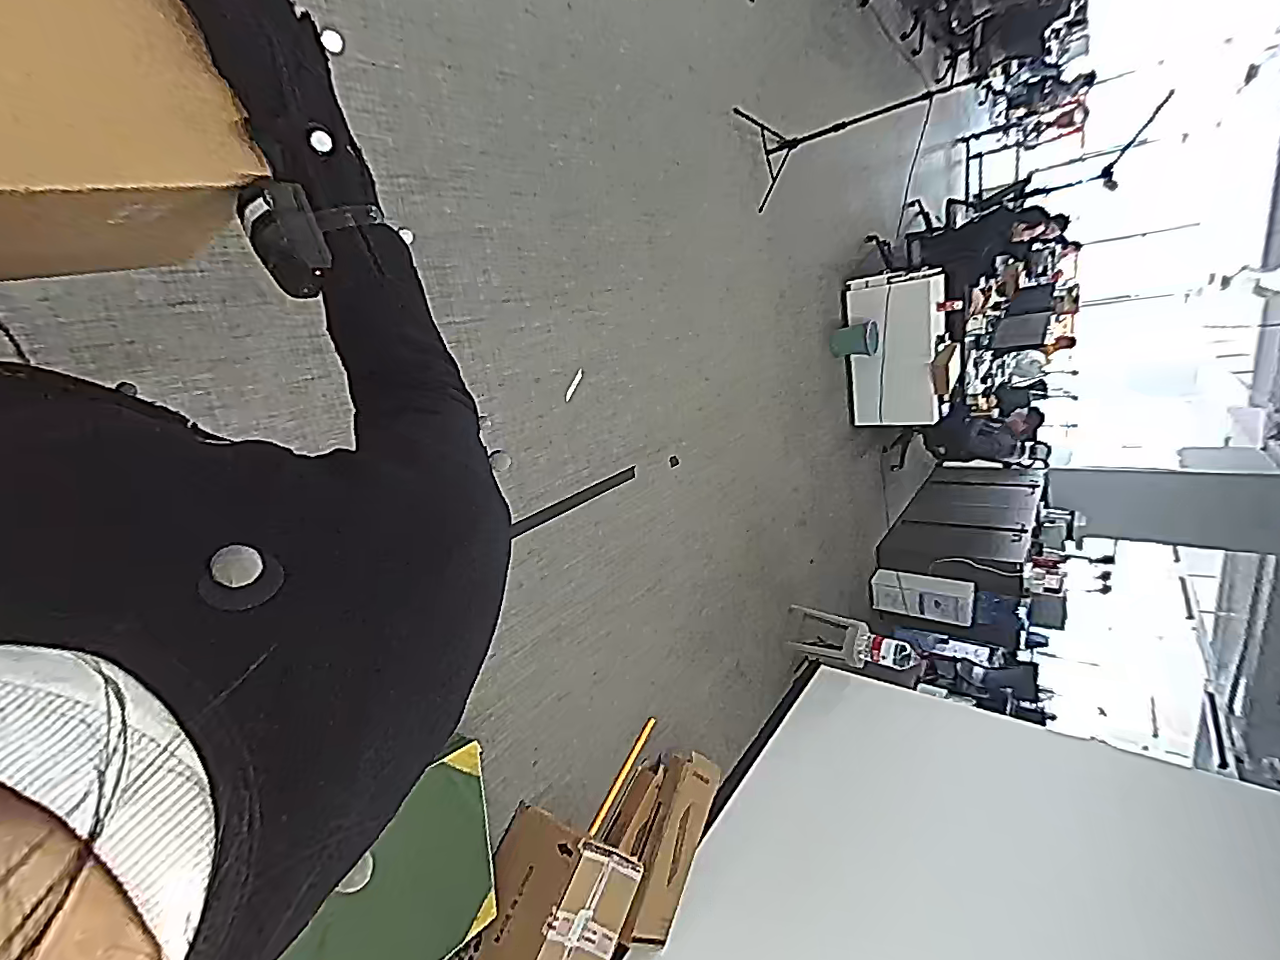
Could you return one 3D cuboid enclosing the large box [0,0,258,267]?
[{"bbox_3d":[-0.531,-0.287,0.288,0.408,0.320,0.320,-32,120,-42],"label":"large box"}]
